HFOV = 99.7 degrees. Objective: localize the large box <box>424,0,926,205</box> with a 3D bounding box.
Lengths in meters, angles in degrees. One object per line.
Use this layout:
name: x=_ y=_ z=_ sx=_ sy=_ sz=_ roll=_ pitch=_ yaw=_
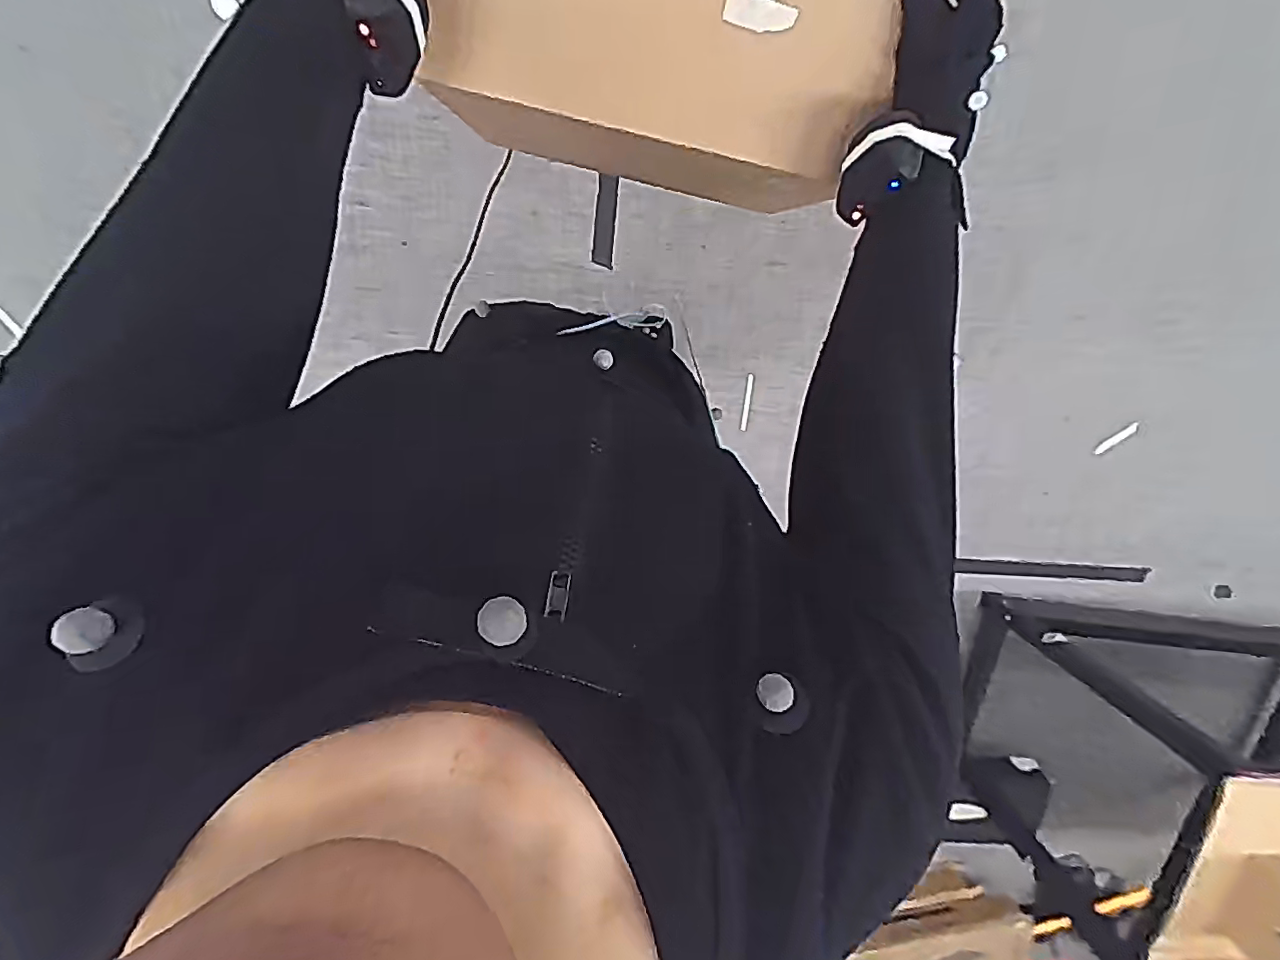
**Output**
large box: x=0.035 y=-0.497 z=0.546 sx=0.408 sy=0.320 sz=0.320 roll=10 pitch=113 yaw=-7
